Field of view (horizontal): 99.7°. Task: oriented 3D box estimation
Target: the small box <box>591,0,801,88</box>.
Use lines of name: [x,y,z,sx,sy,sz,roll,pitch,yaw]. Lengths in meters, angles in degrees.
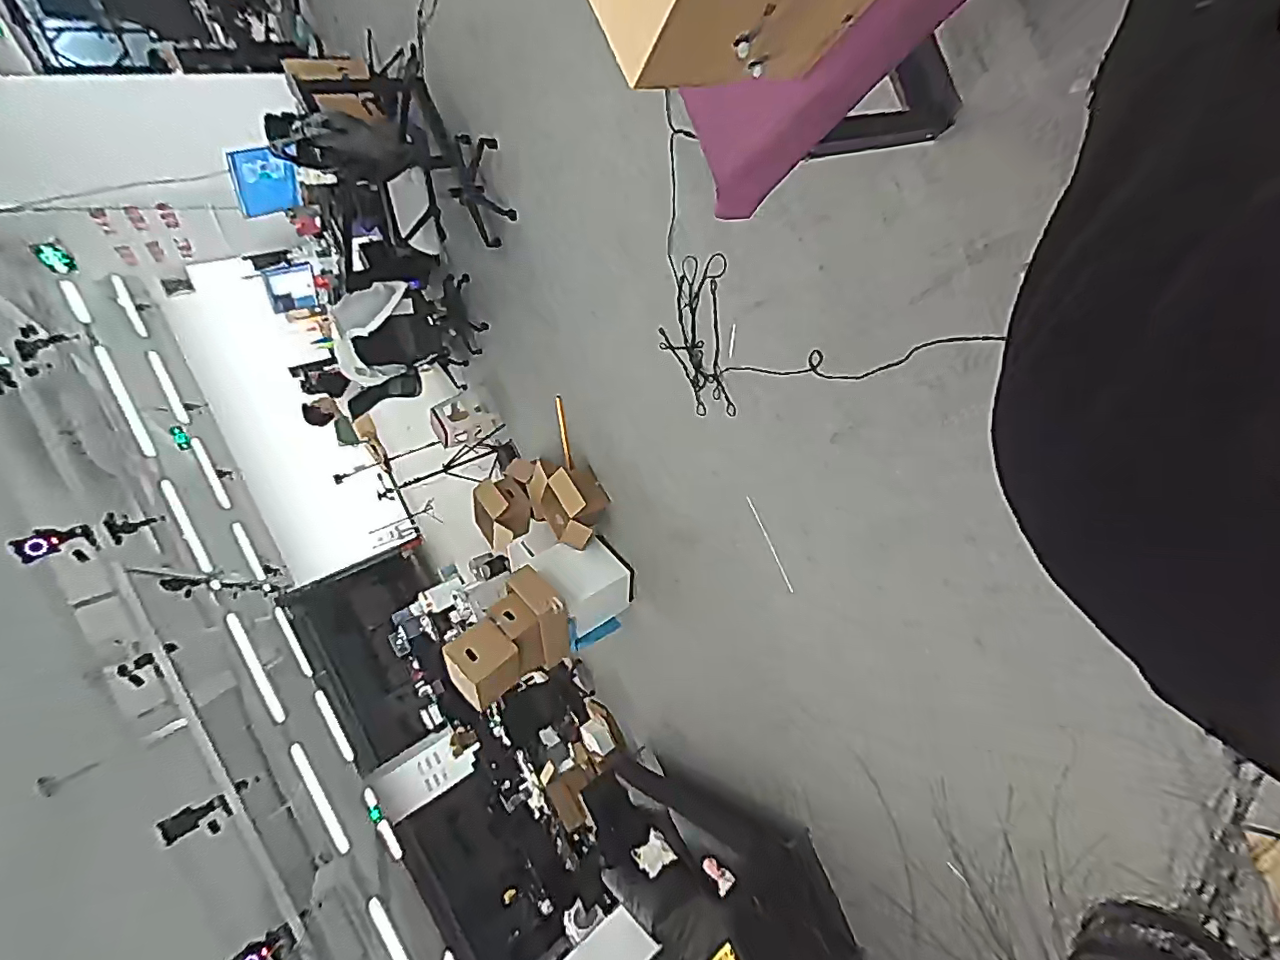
small box: [0.058,-0.571,0.595,0.168,0.176,0.179,-27,88,61]
